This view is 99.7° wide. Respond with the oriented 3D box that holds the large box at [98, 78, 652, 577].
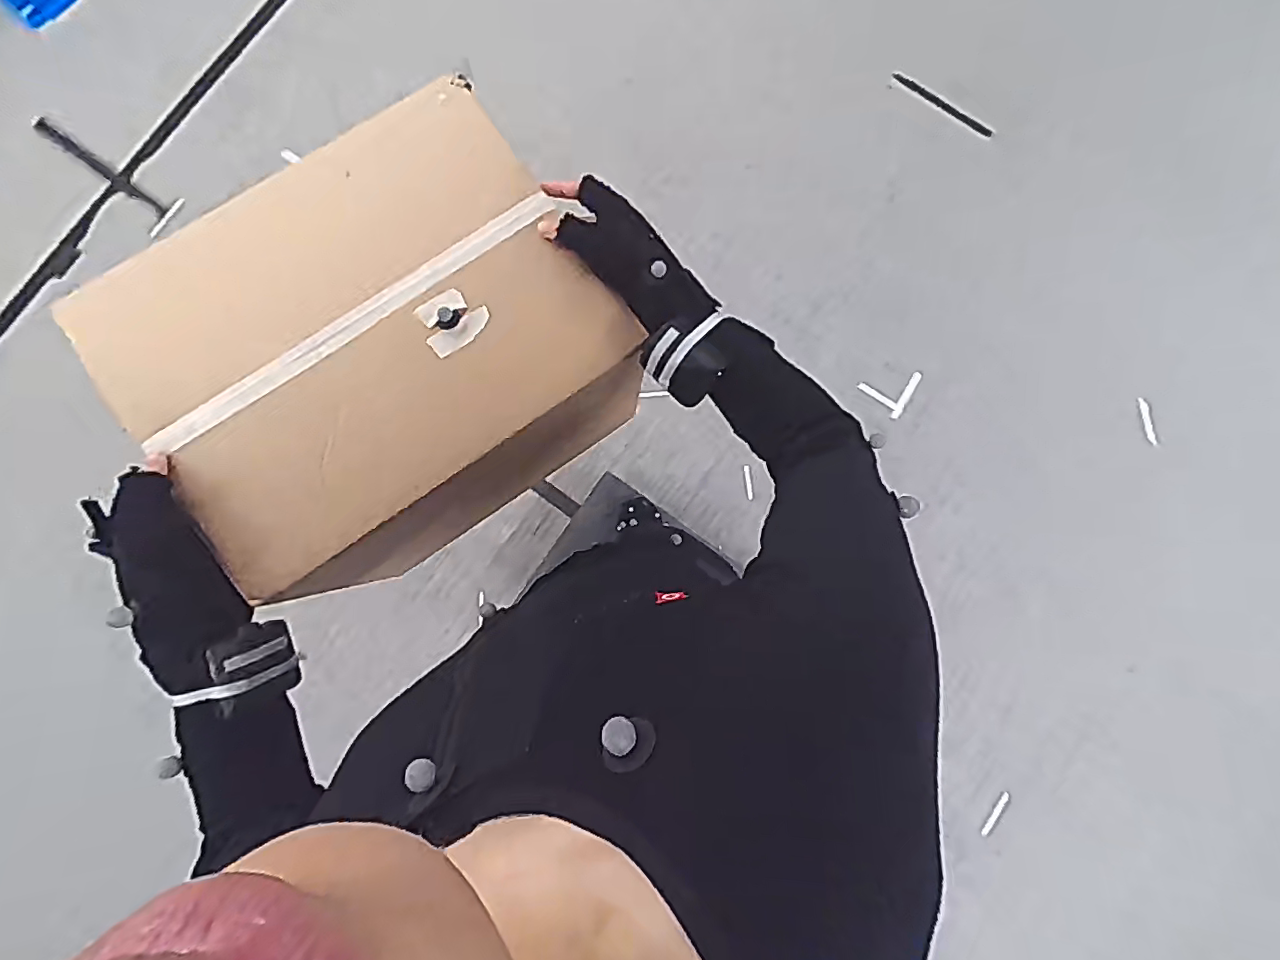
[{"bbox_3d":[-0.242,-0.133,0.633,0.408,0.320,0.320,-35,87,-6],"label":"large box"}]
